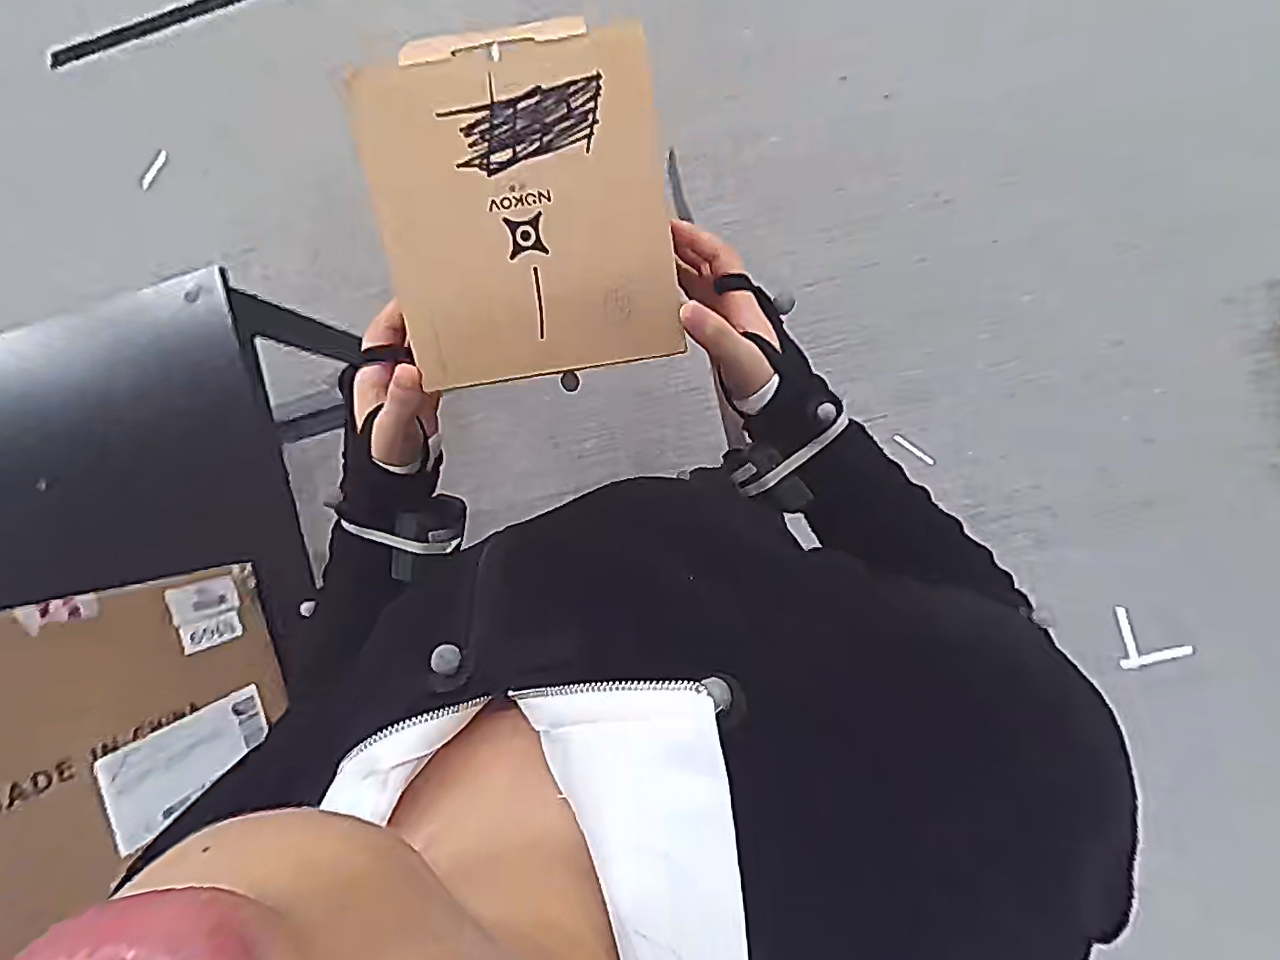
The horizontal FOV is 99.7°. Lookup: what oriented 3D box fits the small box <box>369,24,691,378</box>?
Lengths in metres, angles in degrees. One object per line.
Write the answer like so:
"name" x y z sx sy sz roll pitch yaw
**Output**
"small box" -0.060 -0.172 0.392 0.168 0.176 0.179 -8 103 2
